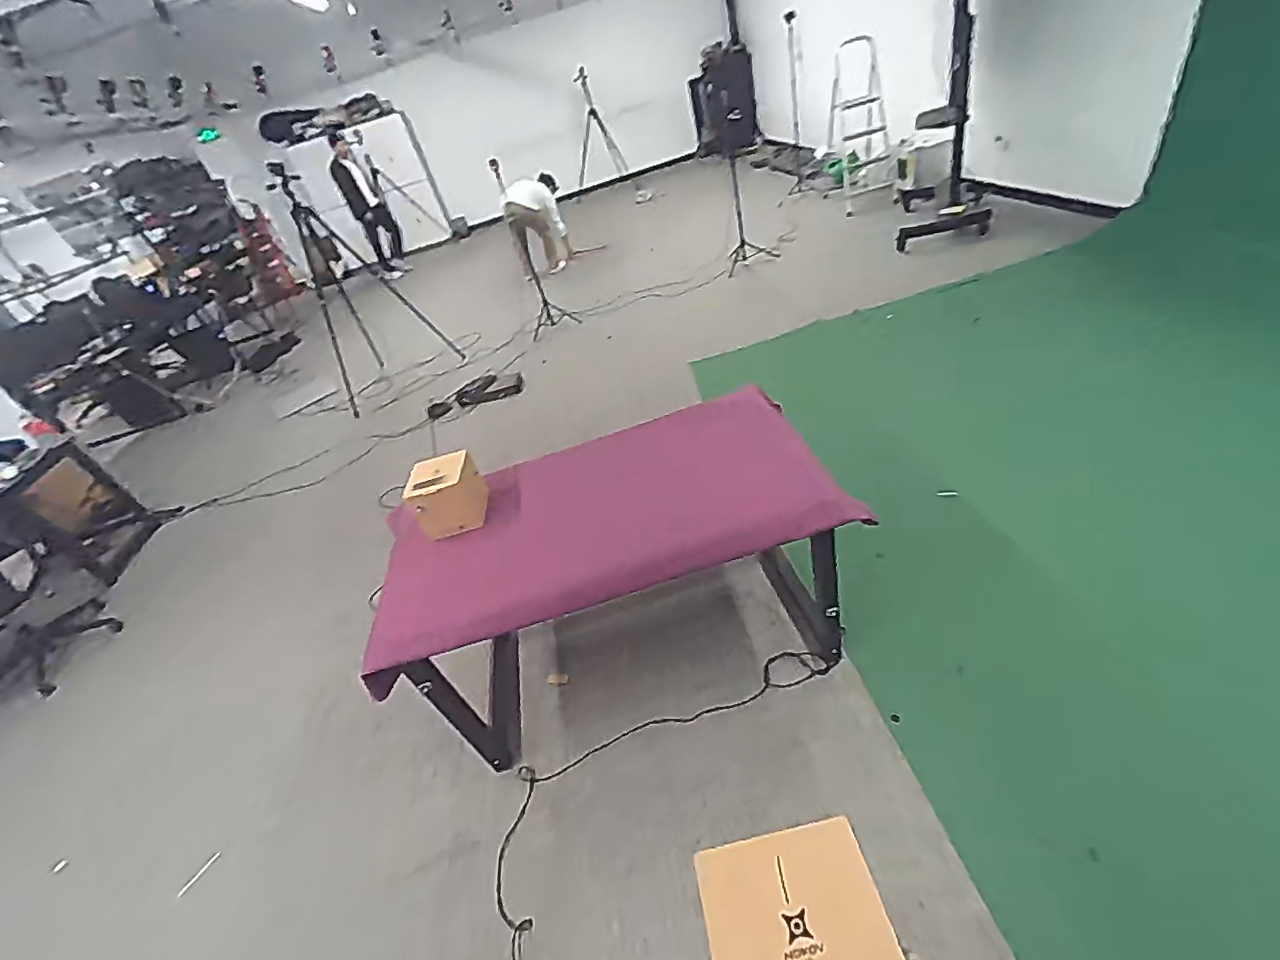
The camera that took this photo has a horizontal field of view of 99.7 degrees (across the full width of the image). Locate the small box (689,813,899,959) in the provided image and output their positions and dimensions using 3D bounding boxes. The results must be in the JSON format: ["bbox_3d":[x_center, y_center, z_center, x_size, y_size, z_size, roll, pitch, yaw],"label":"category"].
[{"bbox_3d":[0.159,0.473,0.530,0.168,0.176,0.179,-17,33,2],"label":"small box"}]
